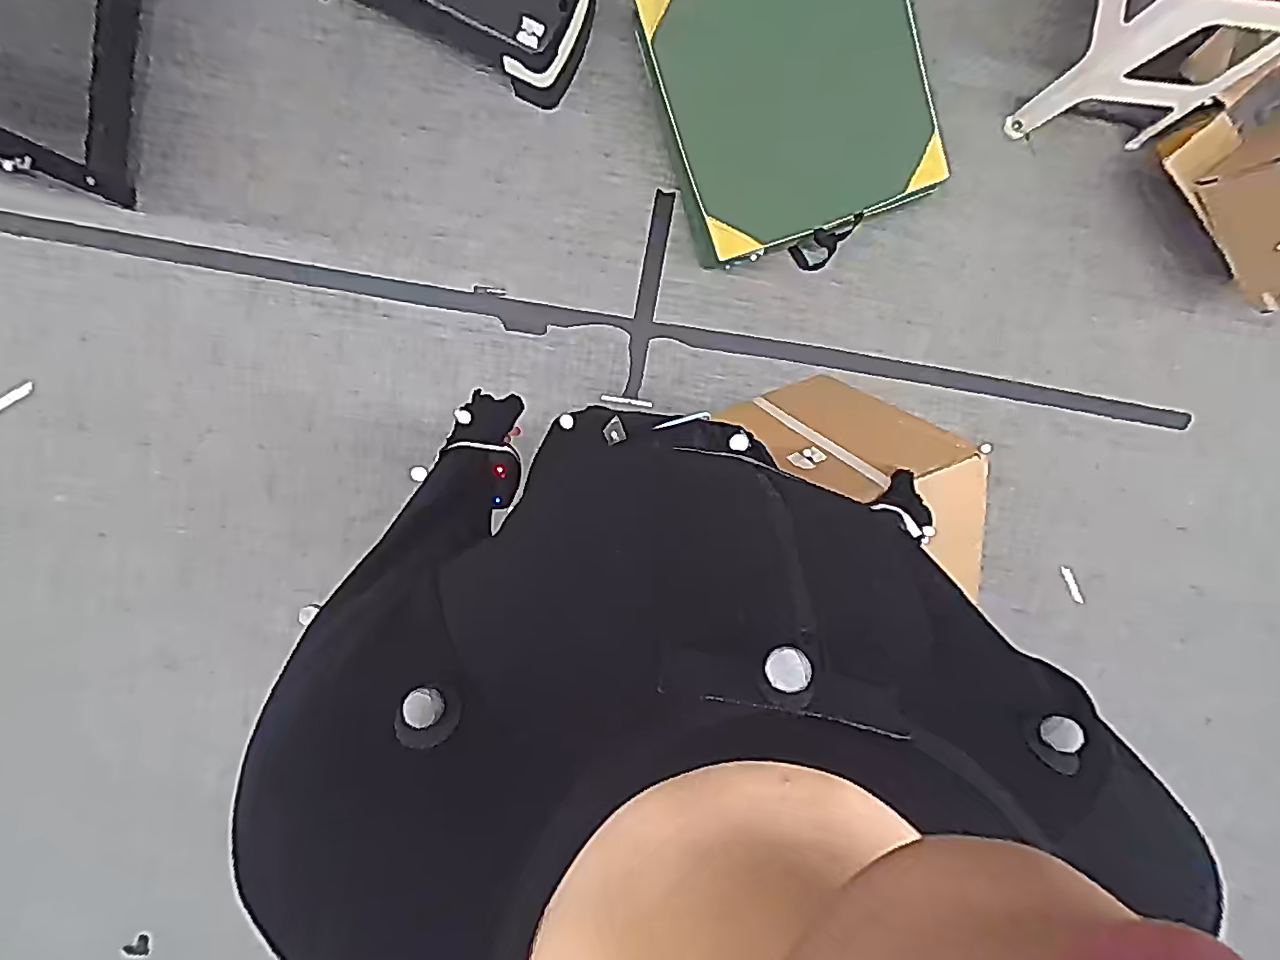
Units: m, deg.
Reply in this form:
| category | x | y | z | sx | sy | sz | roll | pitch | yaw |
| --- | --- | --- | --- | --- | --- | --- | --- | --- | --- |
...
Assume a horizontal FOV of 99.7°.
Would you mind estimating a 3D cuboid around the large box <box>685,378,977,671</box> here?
| category | x | y | z | sx | sy | sz | roll | pitch | yaw |
| --- | --- | --- | --- | --- | --- | --- | --- | --- | --- |
| large box | 0.316 | 0.056 | 0.991 | 0.320 | 0.408 | 0.320 | -20 | 122 | -6 |
